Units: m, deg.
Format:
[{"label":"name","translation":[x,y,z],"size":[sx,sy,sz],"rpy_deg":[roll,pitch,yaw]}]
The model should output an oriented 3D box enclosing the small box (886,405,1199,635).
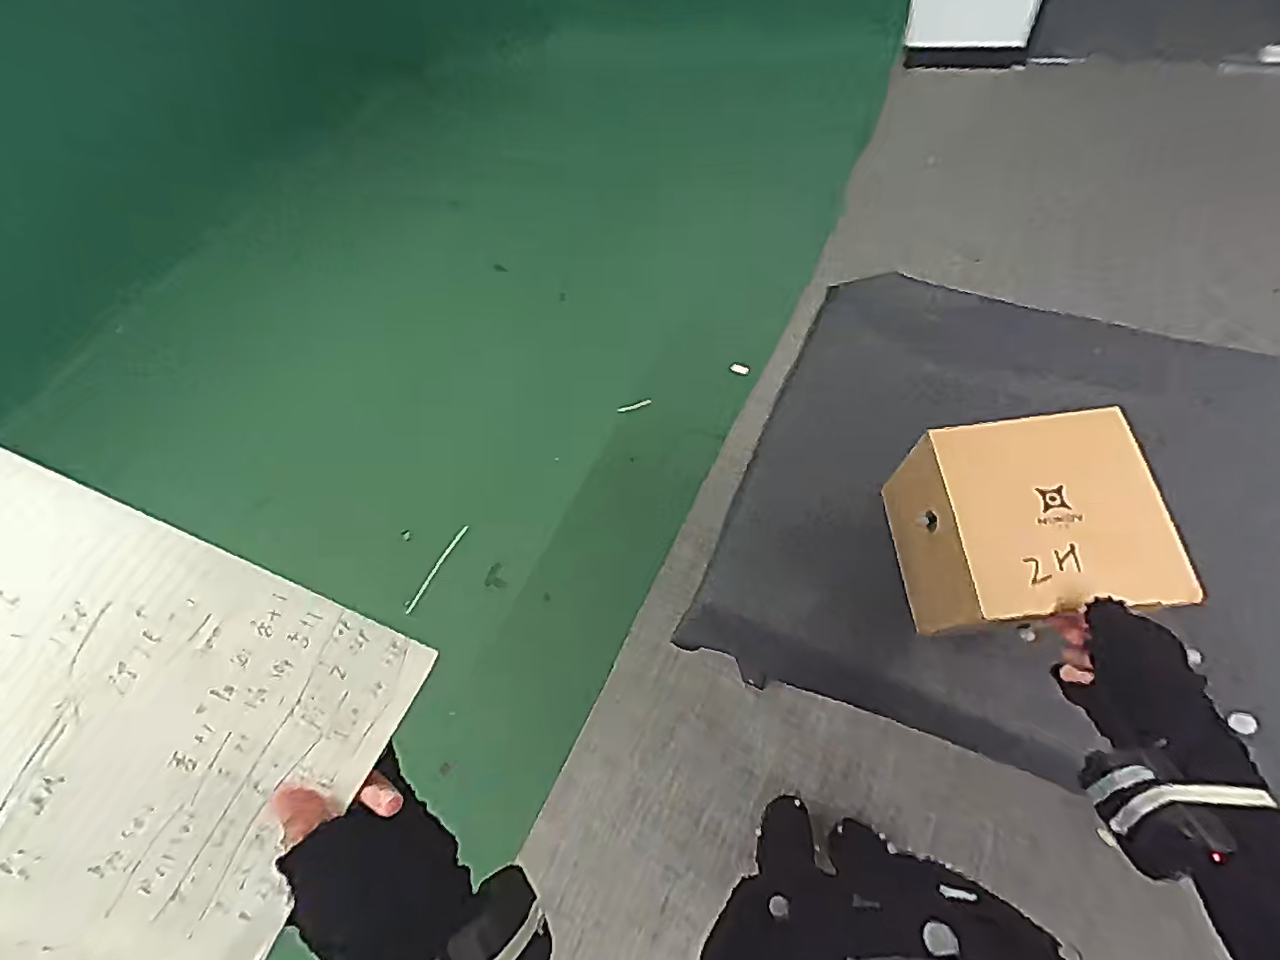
[{"label":"small box","translation":[0.364,0.050,0.537],"size":[0.168,0.176,0.179],"rpy_deg":[-8,68,7]}]
